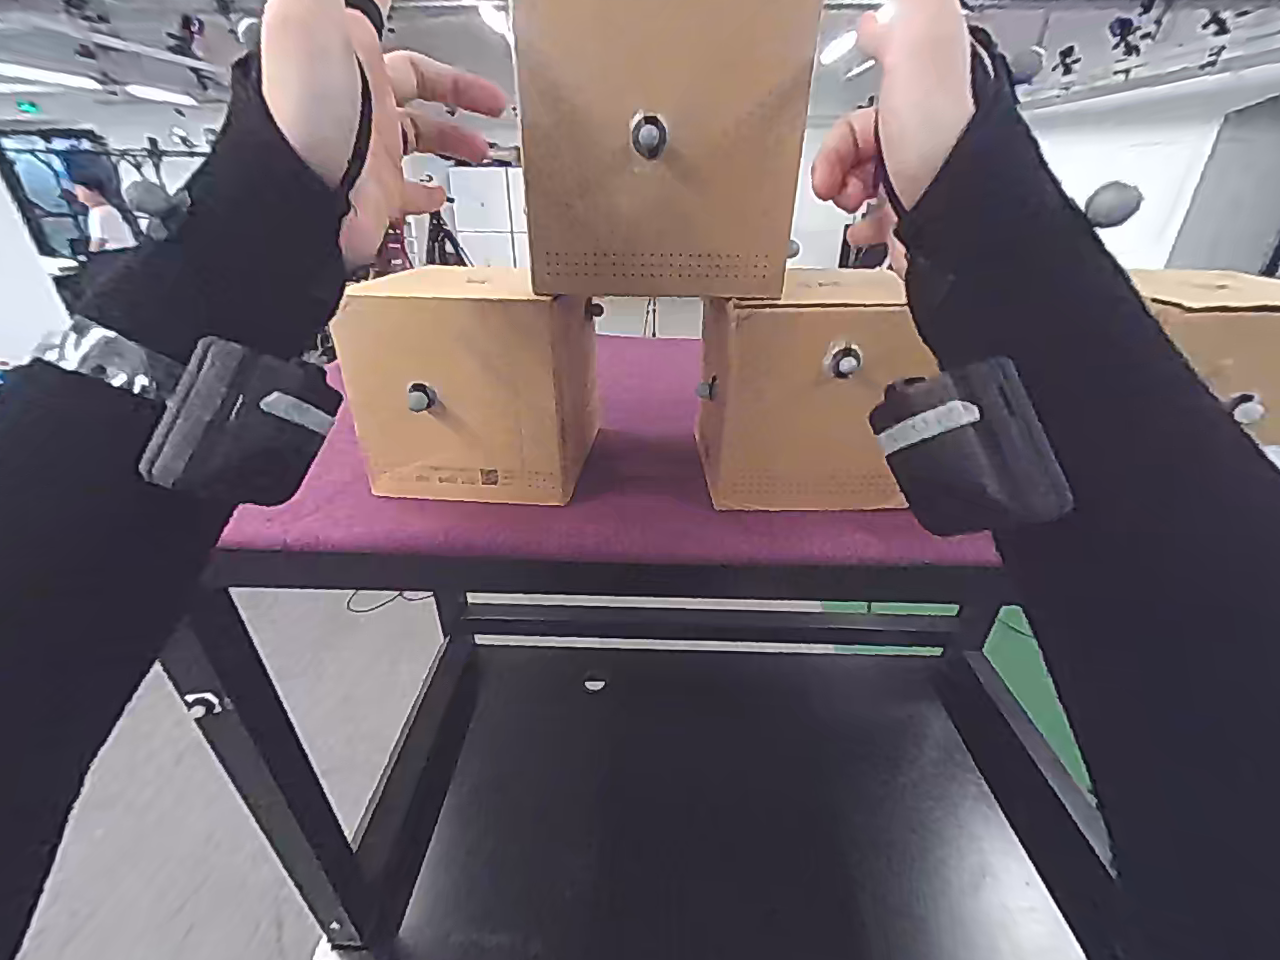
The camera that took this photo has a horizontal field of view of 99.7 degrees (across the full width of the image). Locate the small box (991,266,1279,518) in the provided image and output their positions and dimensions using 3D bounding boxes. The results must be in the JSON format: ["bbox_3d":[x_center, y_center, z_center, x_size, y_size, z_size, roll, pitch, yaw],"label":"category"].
[{"bbox_3d":[0.434,-0.079,0.458,0.179,0.176,0.168,0,30,2],"label":"small box"}]

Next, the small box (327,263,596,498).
[{"bbox_3d":[-0.133,-0.095,0.484,0.168,0.176,0.179,3,28,4],"label":"small box"}]

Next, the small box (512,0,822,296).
[{"bbox_3d":[0.014,-0.239,0.406,0.179,0.176,0.168,0,29,0],"label":"small box"}]

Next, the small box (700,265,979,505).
[{"bbox_3d":[0.146,-0.088,0.473,0.179,0.176,0.168,0,29,-1],"label":"small box"}]
